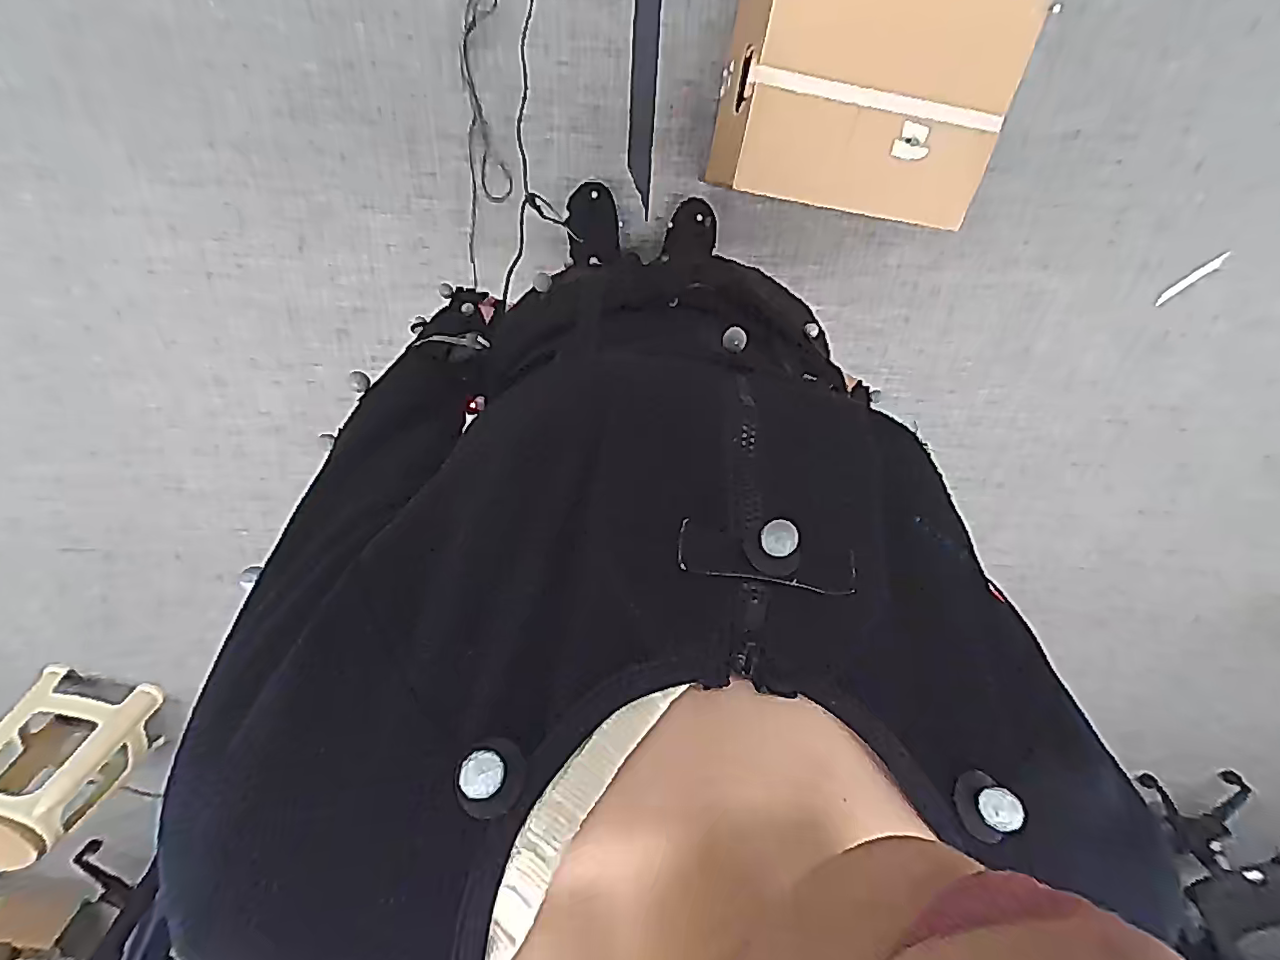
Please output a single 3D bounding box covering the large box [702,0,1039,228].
[{"bbox_3d":[0.353,-0.658,0.960,0.408,0.320,0.320,6,120,-8],"label":"large box"}]
